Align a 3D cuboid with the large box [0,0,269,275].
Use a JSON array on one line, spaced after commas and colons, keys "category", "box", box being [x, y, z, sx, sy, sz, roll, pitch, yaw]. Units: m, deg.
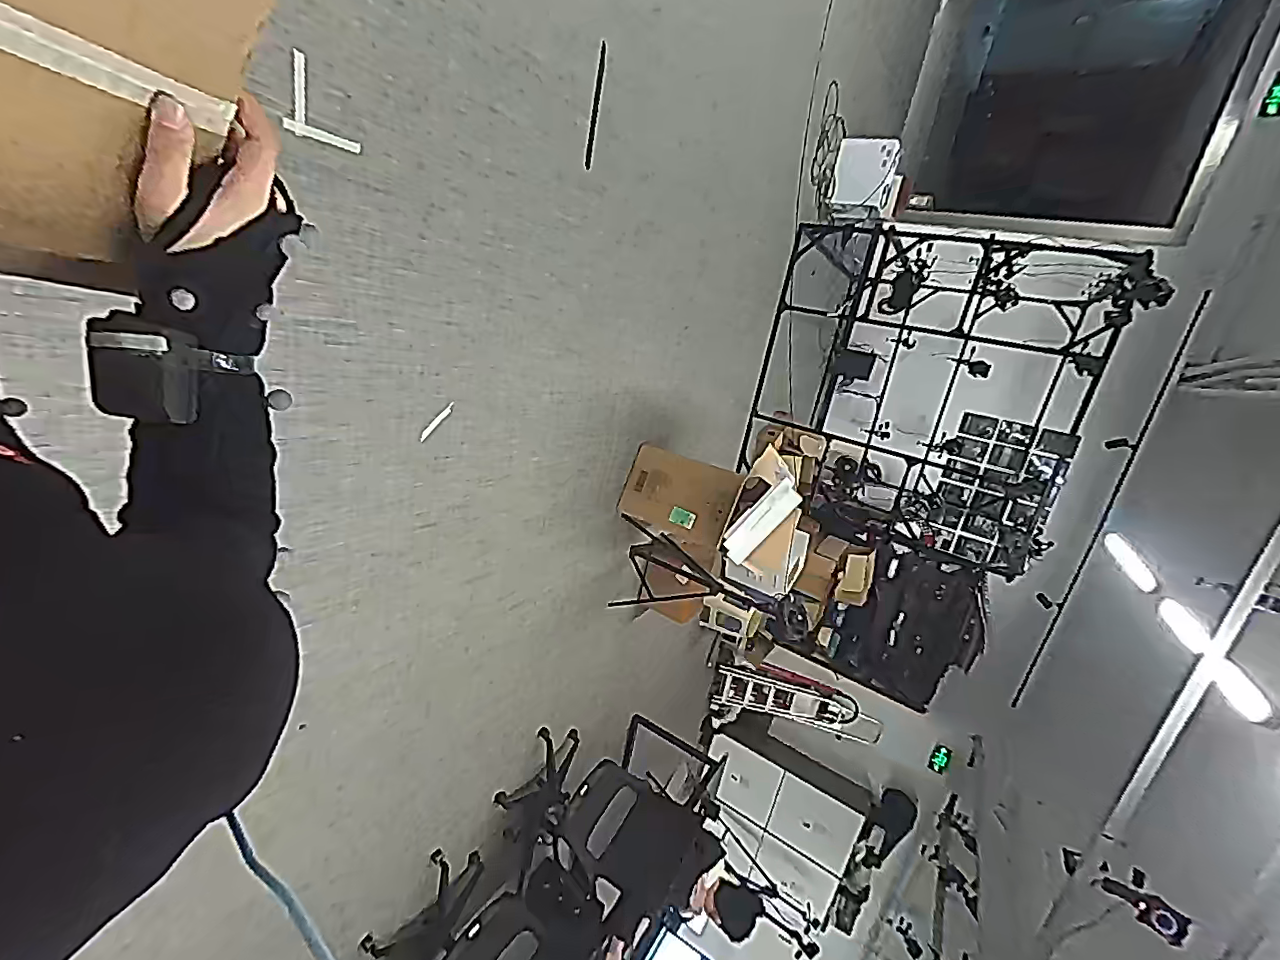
[{"category": "large box", "box": [-0.415, -0.335, 0.181, 0.320, 0.320, 0.408, -33, 166, 30]}]
